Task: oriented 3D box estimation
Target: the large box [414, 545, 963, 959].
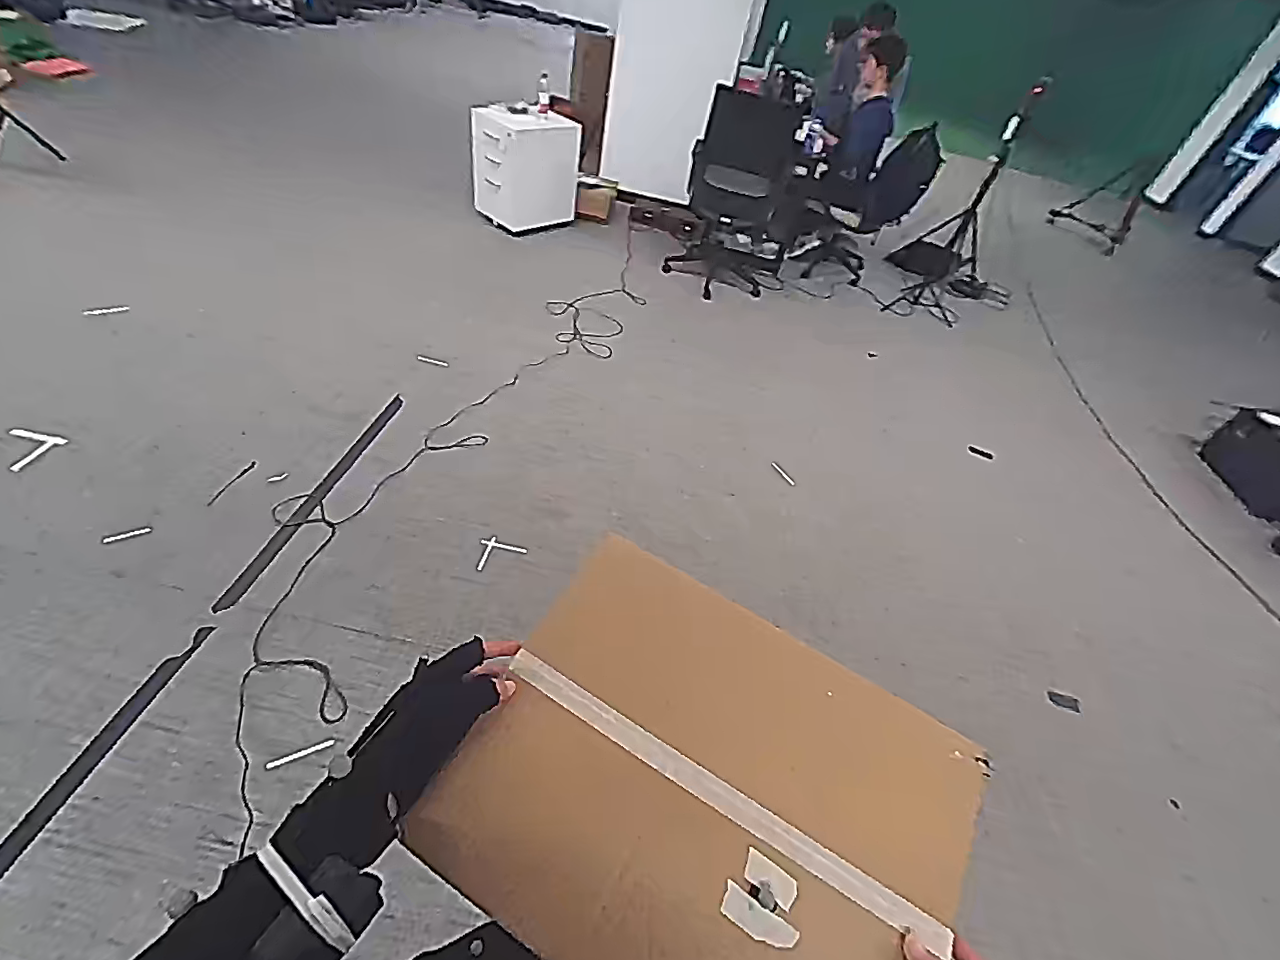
[{"bbox_3d":[0.044,0.344,0.596,0.408,0.320,0.320,29,60,12],"label":"large box"}]
